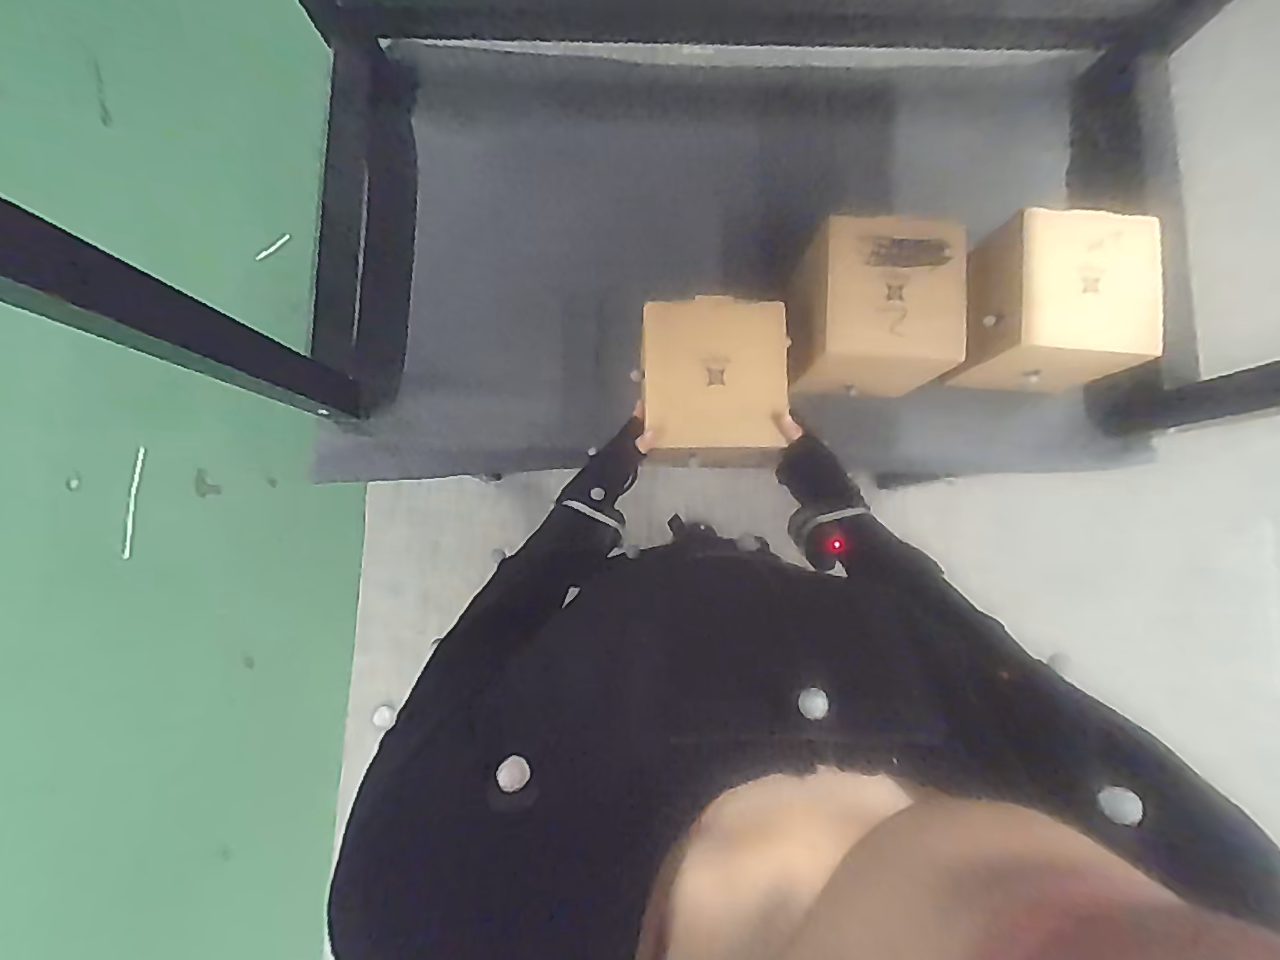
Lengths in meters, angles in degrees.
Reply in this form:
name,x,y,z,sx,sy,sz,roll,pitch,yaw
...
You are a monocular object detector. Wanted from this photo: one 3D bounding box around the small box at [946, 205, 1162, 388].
name,x,y,z,sx,sy,sz,roll,pitch,yaw
small box,0.533,-0.230,0.719,0.168,0.176,0.179,5,84,1
